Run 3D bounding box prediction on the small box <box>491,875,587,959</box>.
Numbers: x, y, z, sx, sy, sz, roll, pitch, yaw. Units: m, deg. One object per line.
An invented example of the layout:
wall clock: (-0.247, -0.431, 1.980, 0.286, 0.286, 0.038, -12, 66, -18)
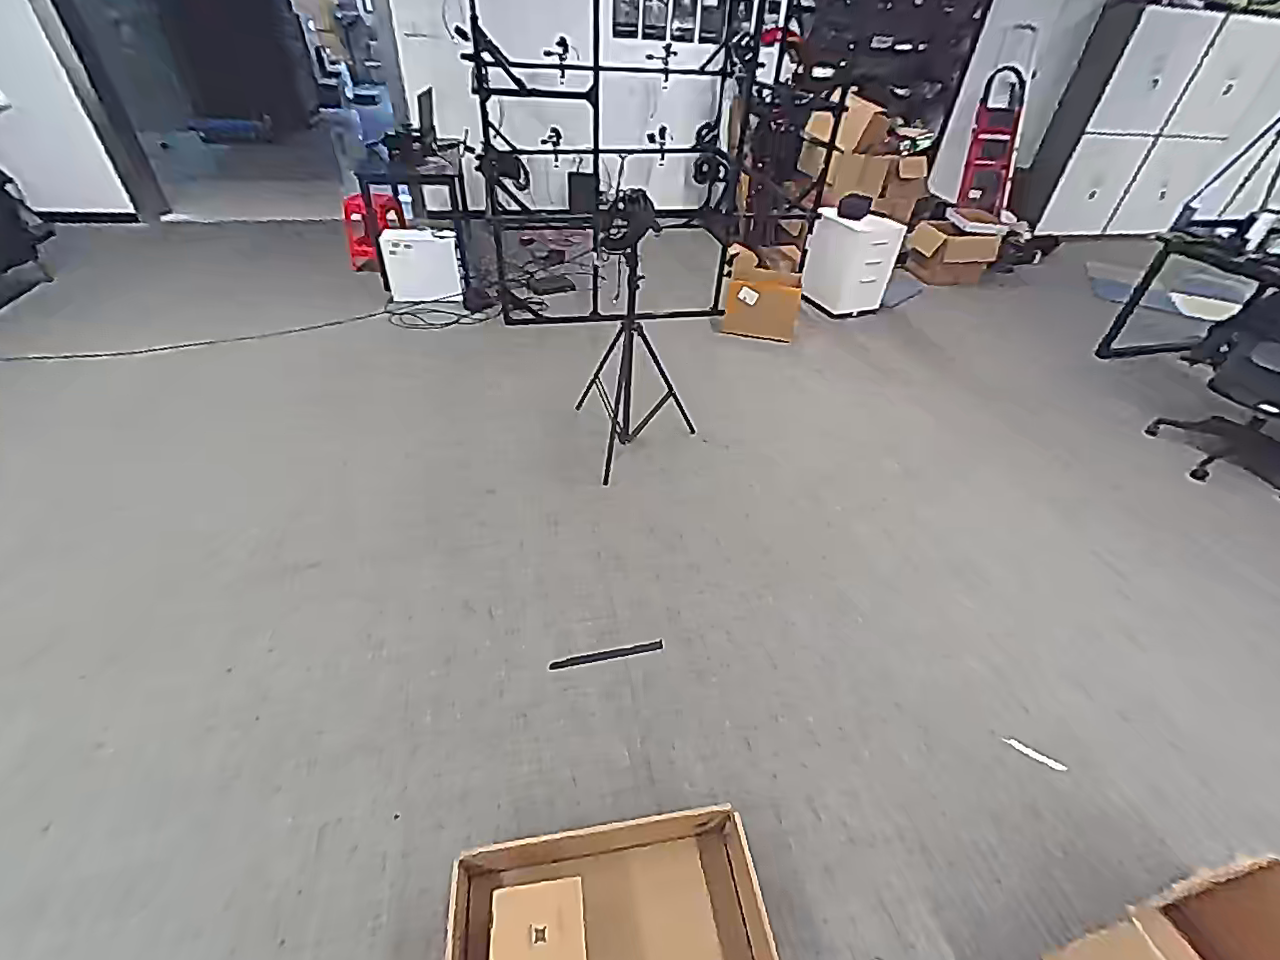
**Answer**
small box: (-0.197, 0.917, 1.074, 0.179, 0.176, 0.168, -3, 43, -10)
